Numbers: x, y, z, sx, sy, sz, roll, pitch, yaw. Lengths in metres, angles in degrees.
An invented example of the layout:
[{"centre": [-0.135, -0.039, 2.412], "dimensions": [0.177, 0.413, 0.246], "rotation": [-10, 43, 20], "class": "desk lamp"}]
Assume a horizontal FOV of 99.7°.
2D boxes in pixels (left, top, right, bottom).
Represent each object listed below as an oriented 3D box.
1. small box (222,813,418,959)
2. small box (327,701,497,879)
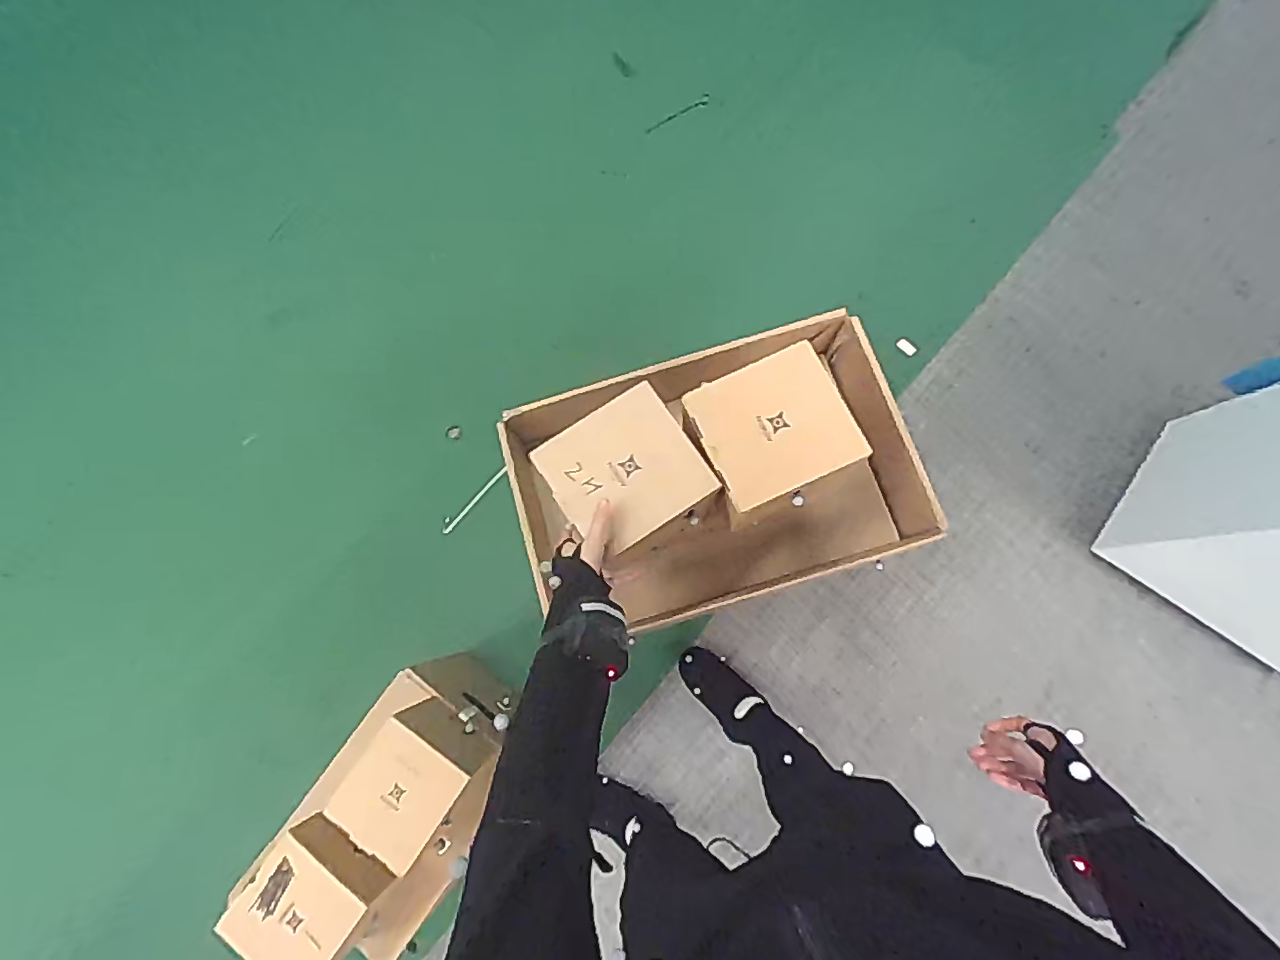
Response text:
[{"centre": [-0.510, 0.672, 0.887], "dimensions": [0.179, 0.176, 0.168], "rotation": [34, 81, 10], "class": "small box"}, {"centre": [-0.370, 0.507, 0.917], "dimensions": [0.168, 0.176, 0.179], "rotation": [34, 80, 9], "class": "small box"}]
